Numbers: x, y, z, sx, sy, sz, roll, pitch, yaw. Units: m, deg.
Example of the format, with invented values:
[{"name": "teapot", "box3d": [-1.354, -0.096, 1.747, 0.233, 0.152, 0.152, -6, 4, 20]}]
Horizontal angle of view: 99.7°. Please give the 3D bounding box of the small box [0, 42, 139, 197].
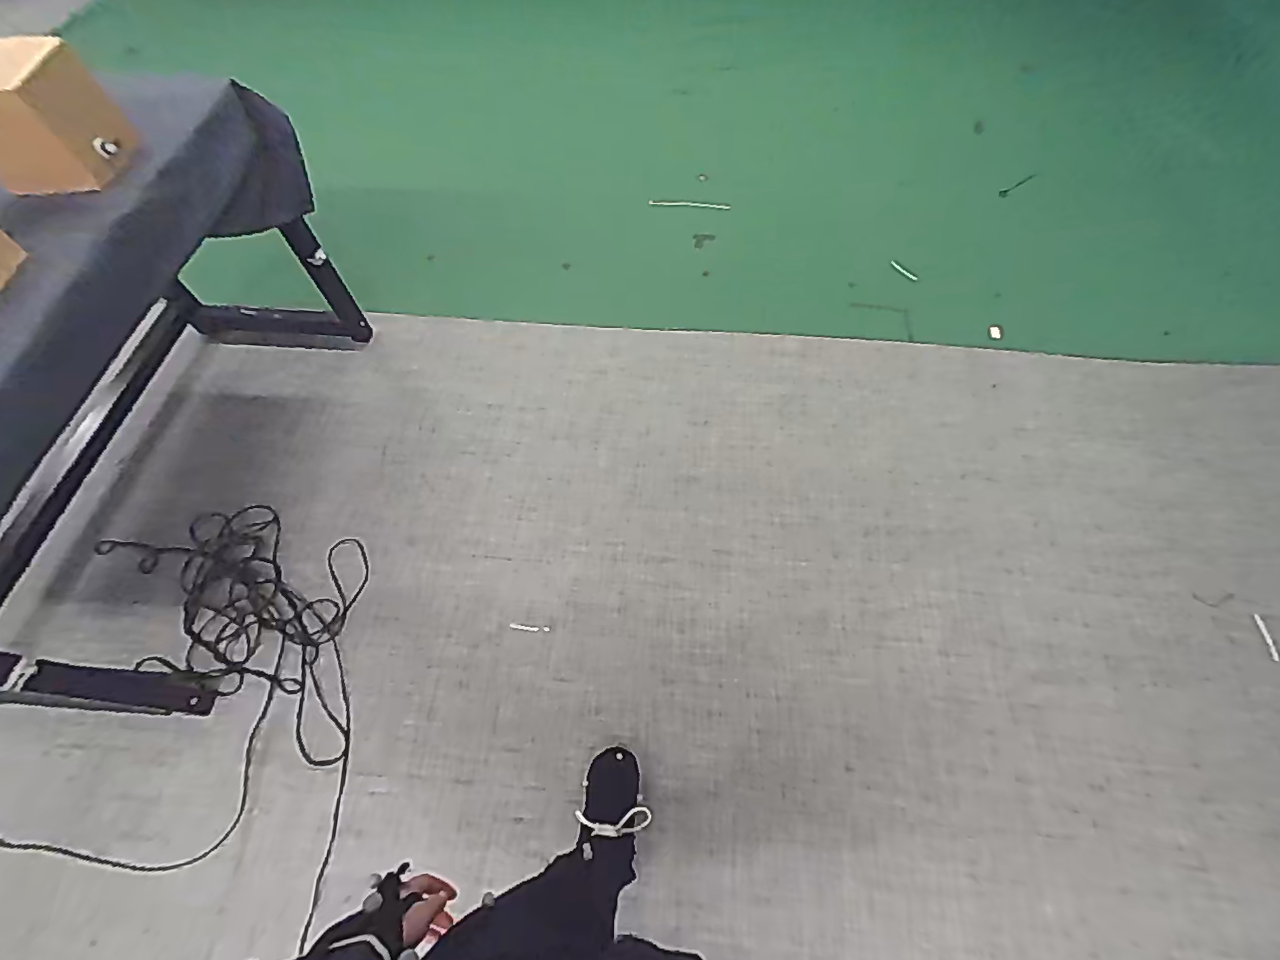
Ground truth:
[{"name": "small box", "box3d": [-1.035, -0.608, 0.924, 0.179, 0.176, 0.168, -2, 62, -2]}]
